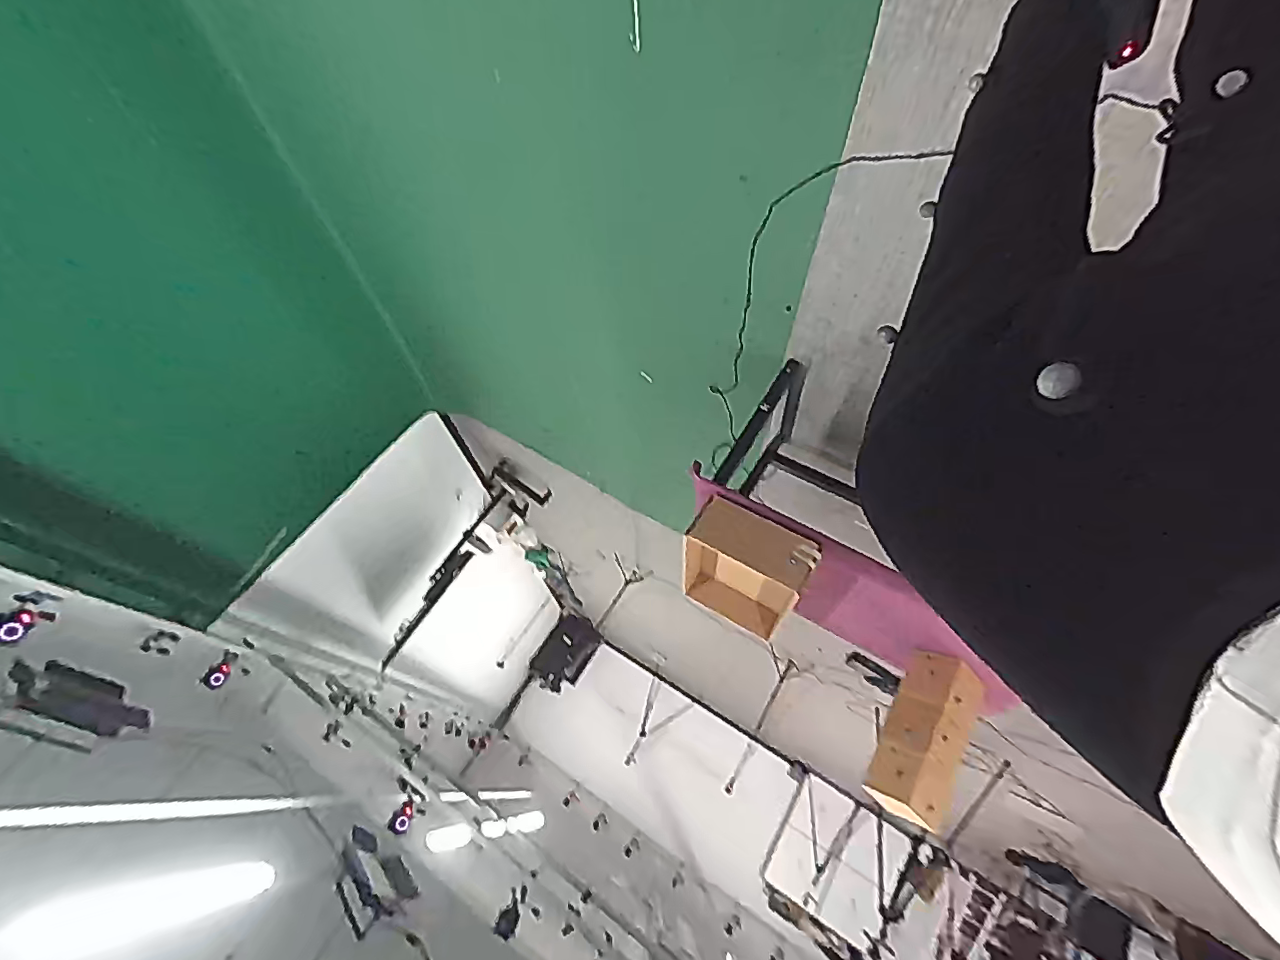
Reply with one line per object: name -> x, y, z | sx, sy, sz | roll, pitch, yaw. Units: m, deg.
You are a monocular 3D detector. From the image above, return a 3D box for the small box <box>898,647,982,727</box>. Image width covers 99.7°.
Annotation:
small box -> 1.006, 0.686, 1.812 | 0.179, 0.176, 0.168 | 45, 156, -20

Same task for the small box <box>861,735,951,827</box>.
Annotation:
small box -> 0.831, 0.930, 1.688 | 0.179, 0.176, 0.168 | 45, 154, -19

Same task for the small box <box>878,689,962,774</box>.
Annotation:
small box -> 0.914, 0.807, 1.753 | 0.168, 0.176, 0.179 | 46, 155, -20
